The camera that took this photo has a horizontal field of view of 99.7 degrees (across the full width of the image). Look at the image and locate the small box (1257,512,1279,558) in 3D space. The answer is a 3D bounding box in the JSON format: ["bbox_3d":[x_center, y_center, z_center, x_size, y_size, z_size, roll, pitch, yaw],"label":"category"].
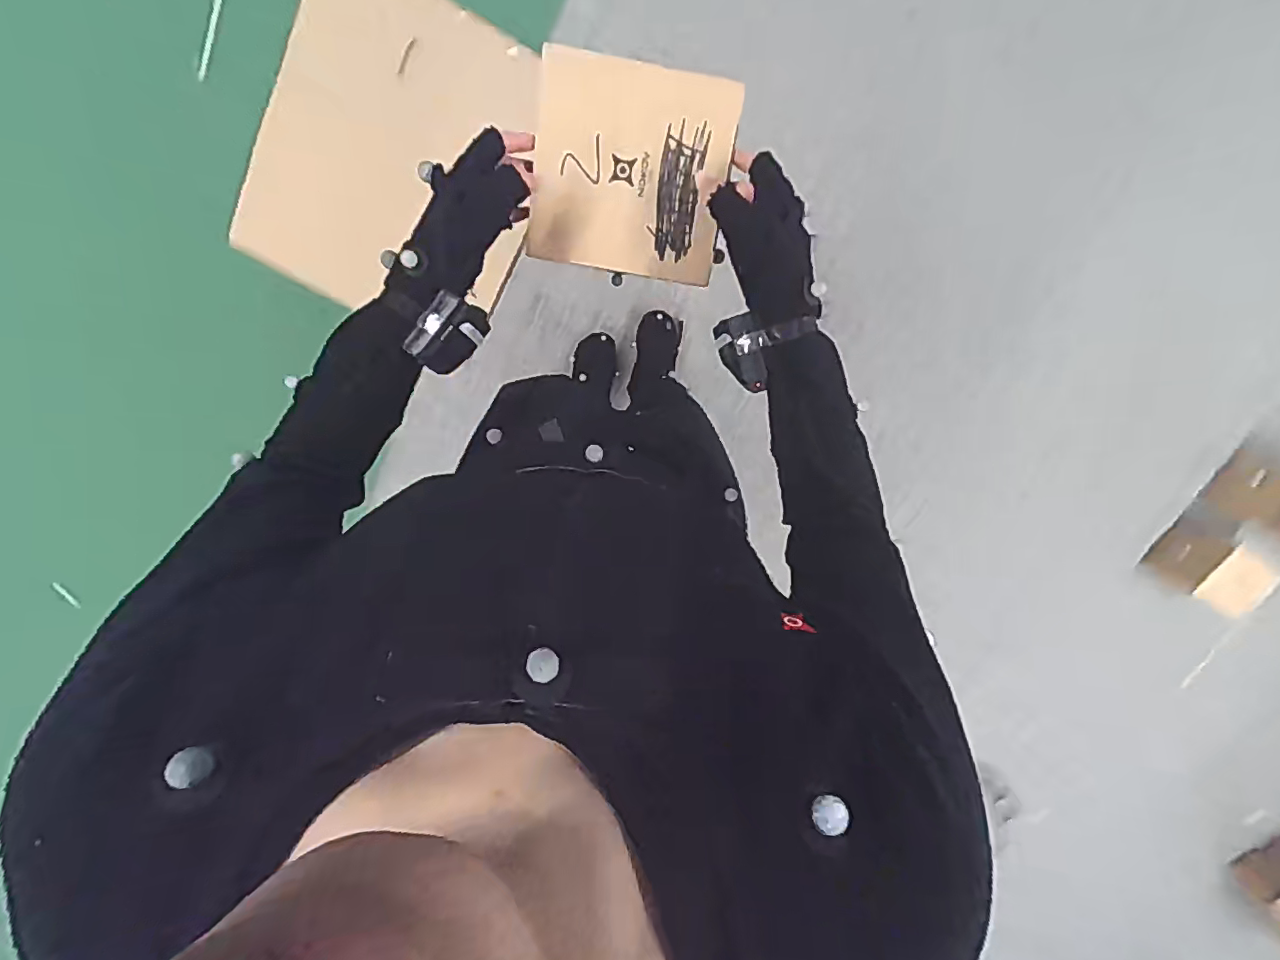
[{"bbox_3d":[1.709,0.152,1.321,0.179,0.176,0.168,28,104,-9],"label":"small box"}]

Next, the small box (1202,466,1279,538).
[{"bbox_3d":[1.715,0.074,1.469,0.179,0.176,0.168,21,105,-8],"label":"small box"}]

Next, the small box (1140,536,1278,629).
[{"bbox_3d":[1.592,0.280,1.528,0.179,0.176,0.168,32,104,-10],"label":"small box"}]
